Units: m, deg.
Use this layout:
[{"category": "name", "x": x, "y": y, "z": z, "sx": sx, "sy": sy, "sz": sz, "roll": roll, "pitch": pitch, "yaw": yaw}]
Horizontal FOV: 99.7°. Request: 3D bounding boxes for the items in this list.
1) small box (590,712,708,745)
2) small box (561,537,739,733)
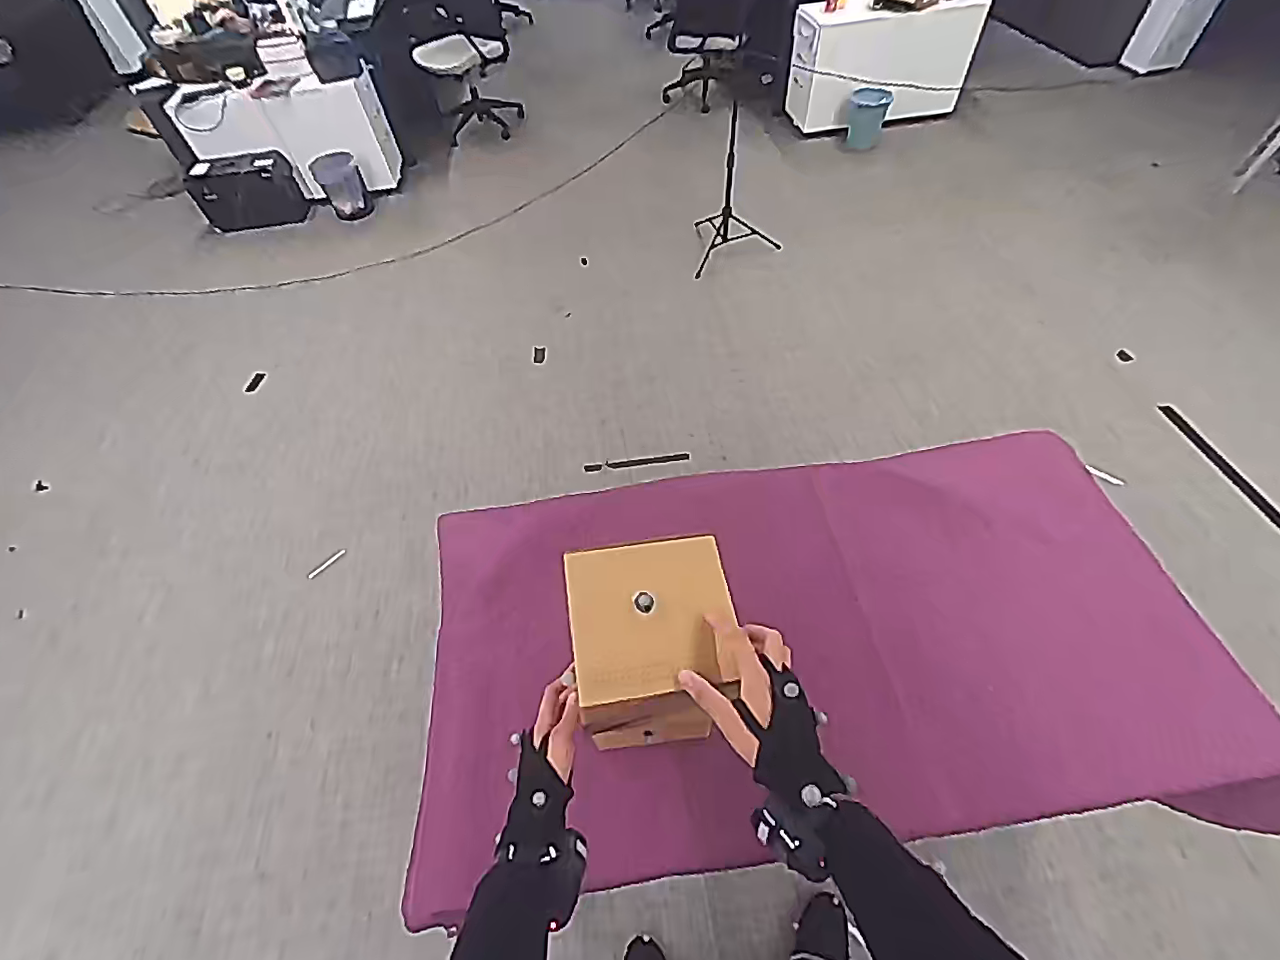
[{"category": "small box", "x": 0.006, "y": 0.276, "z": 0.789, "sx": 0.168, "sy": 0.176, "sz": 0.179, "roll": -6, "pitch": 54, "yaw": -1}, {"category": "small box", "x": 0.007, "y": 0.187, "z": 0.636, "sx": 0.179, "sy": 0.168, "sz": 0.176, "roll": -8, "pitch": 57, "yaw": -9}]
